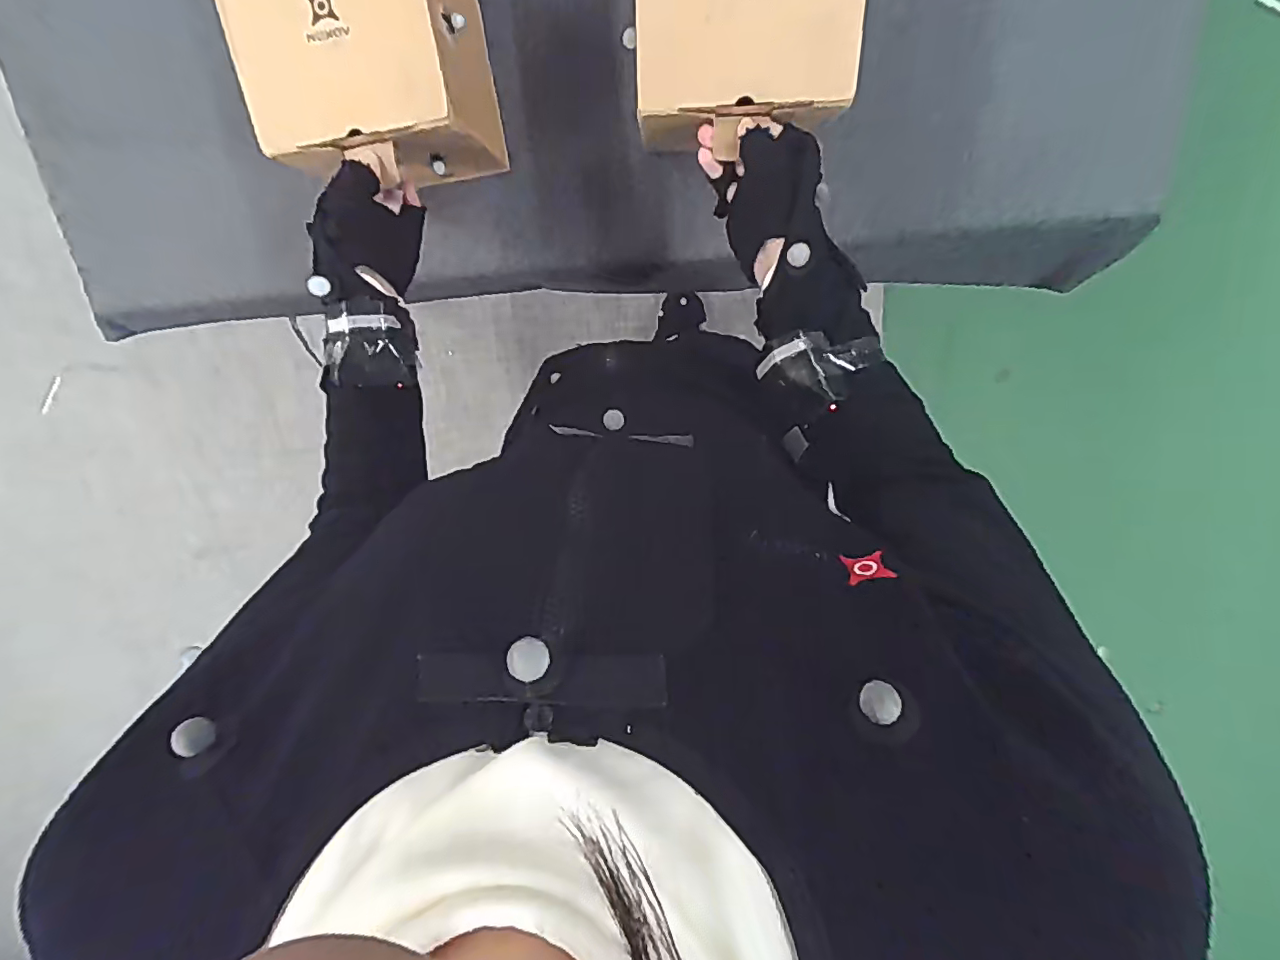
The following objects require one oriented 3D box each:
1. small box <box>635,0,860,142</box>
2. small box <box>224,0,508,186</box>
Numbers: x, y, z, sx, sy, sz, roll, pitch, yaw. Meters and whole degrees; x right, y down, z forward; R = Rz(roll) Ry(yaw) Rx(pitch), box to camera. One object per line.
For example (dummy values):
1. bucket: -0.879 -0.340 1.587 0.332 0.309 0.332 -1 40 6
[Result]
1. small box: 0.084 -0.400 0.459 0.168 0.176 0.179 0 112 4
2. small box: -0.234 -0.387 0.494 0.168 0.176 0.179 -8 106 5
